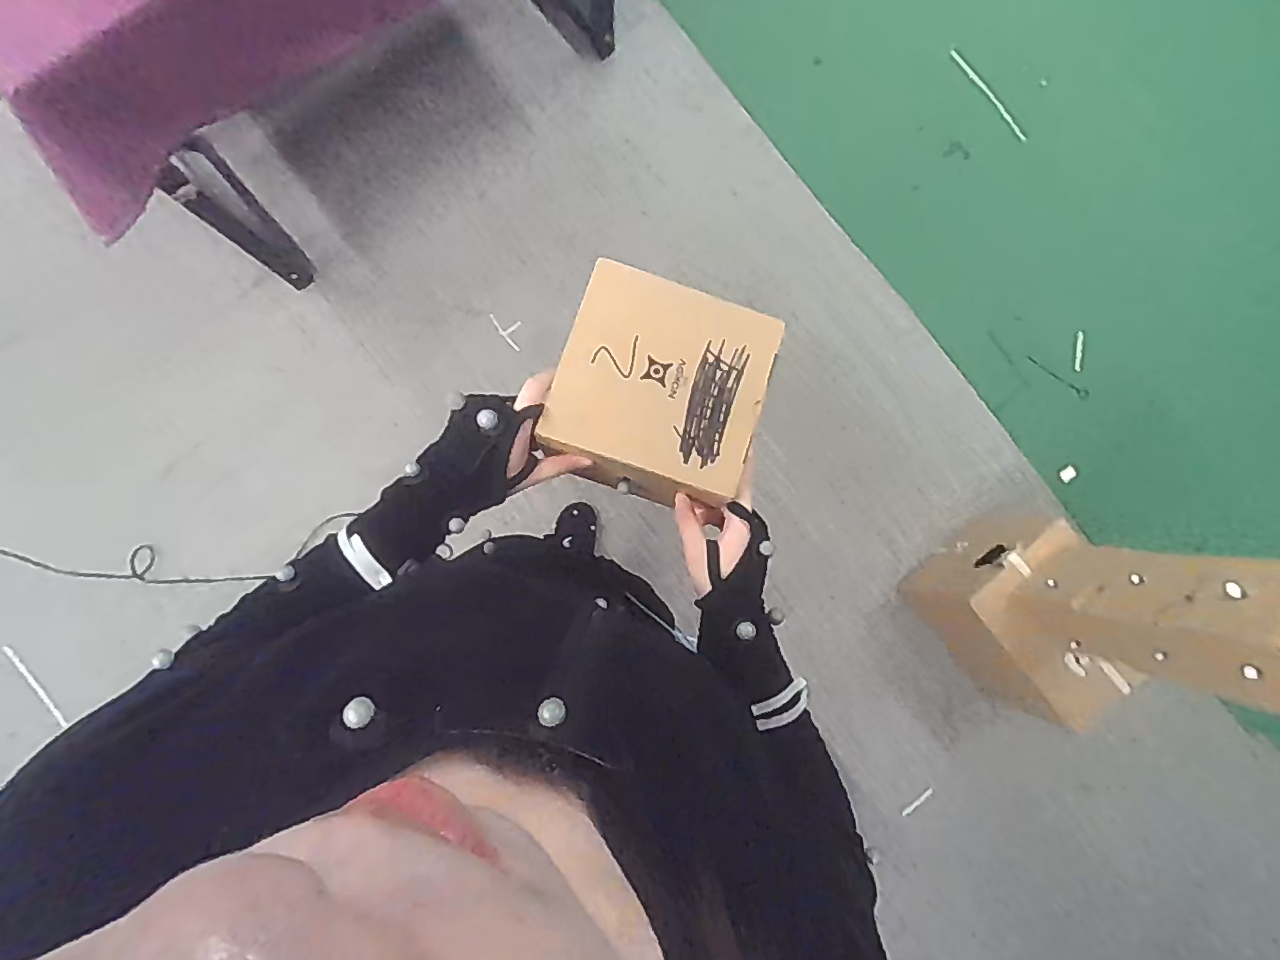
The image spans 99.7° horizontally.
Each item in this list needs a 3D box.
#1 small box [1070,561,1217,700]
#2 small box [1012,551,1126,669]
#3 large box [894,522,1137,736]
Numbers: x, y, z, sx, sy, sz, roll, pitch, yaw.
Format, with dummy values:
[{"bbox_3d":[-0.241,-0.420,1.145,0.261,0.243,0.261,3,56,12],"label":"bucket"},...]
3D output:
[{"bbox_3d":[0.969,0.265,1.006,0.168,0.176,0.179,-44,90,-5],"label":"small box"},{"bbox_3d":[0.954,0.272,1.169,0.179,0.176,0.168,-40,90,-6],"label":"small box"},{"bbox_3d":[0.969,0.355,1.408,0.320,0.320,0.408,-38,90,-5],"label":"large box"}]
